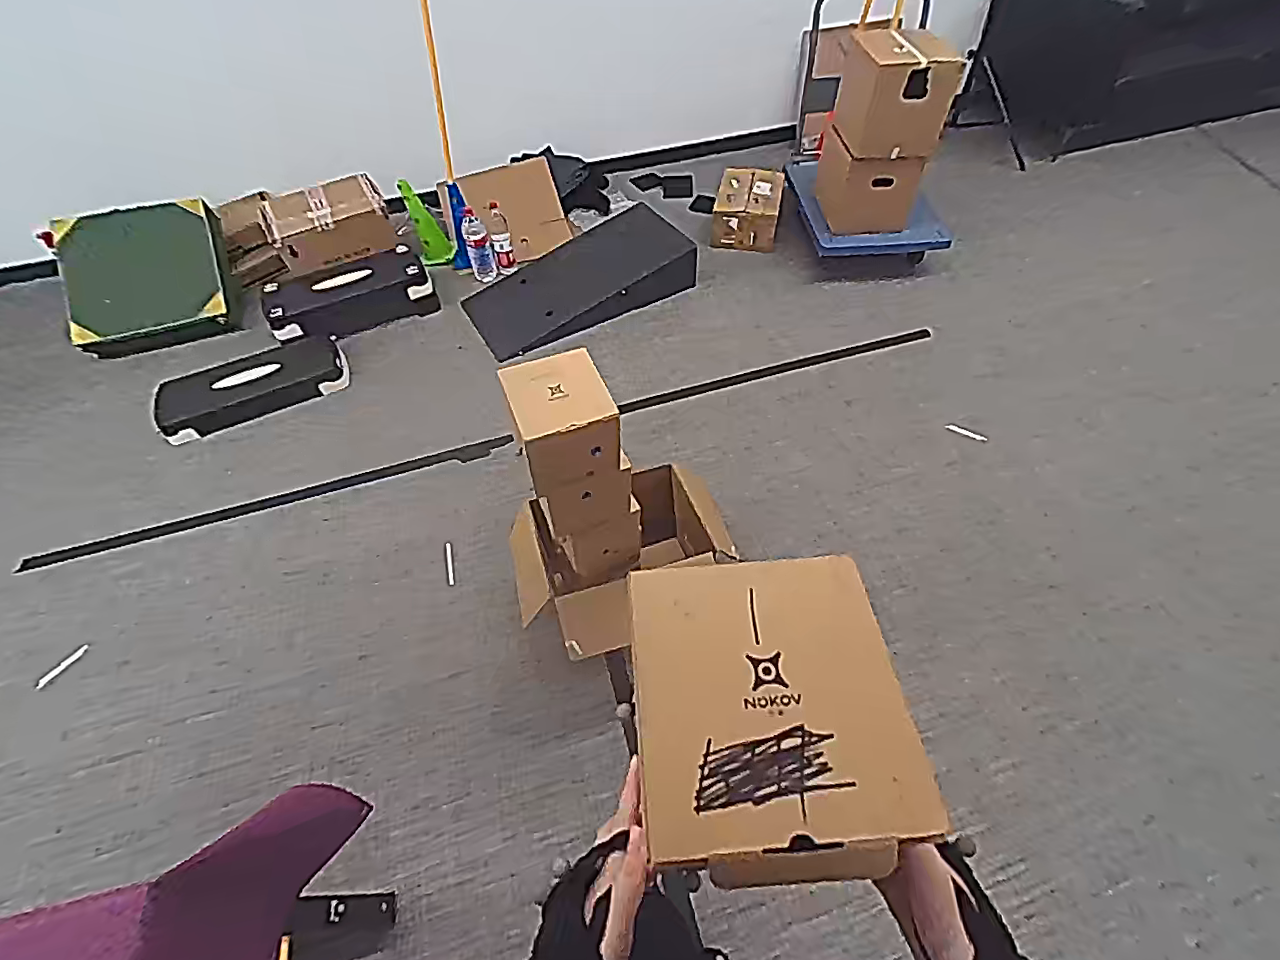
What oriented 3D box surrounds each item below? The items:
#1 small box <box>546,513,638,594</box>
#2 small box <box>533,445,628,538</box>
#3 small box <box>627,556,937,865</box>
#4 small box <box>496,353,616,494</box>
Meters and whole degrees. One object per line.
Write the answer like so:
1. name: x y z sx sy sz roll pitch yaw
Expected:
1. small box: -0.120 0.163 1.399 0.179 0.176 0.168 -31 61 -23
2. small box: -0.133 -0.004 1.114 0.179 0.176 0.168 -19 58 -15
3. small box: 0.078 0.177 0.405 0.168 0.176 0.179 -3 52 -2
4. small box: -0.145 -0.094 0.977 0.168 0.176 0.179 -18 57 -15
